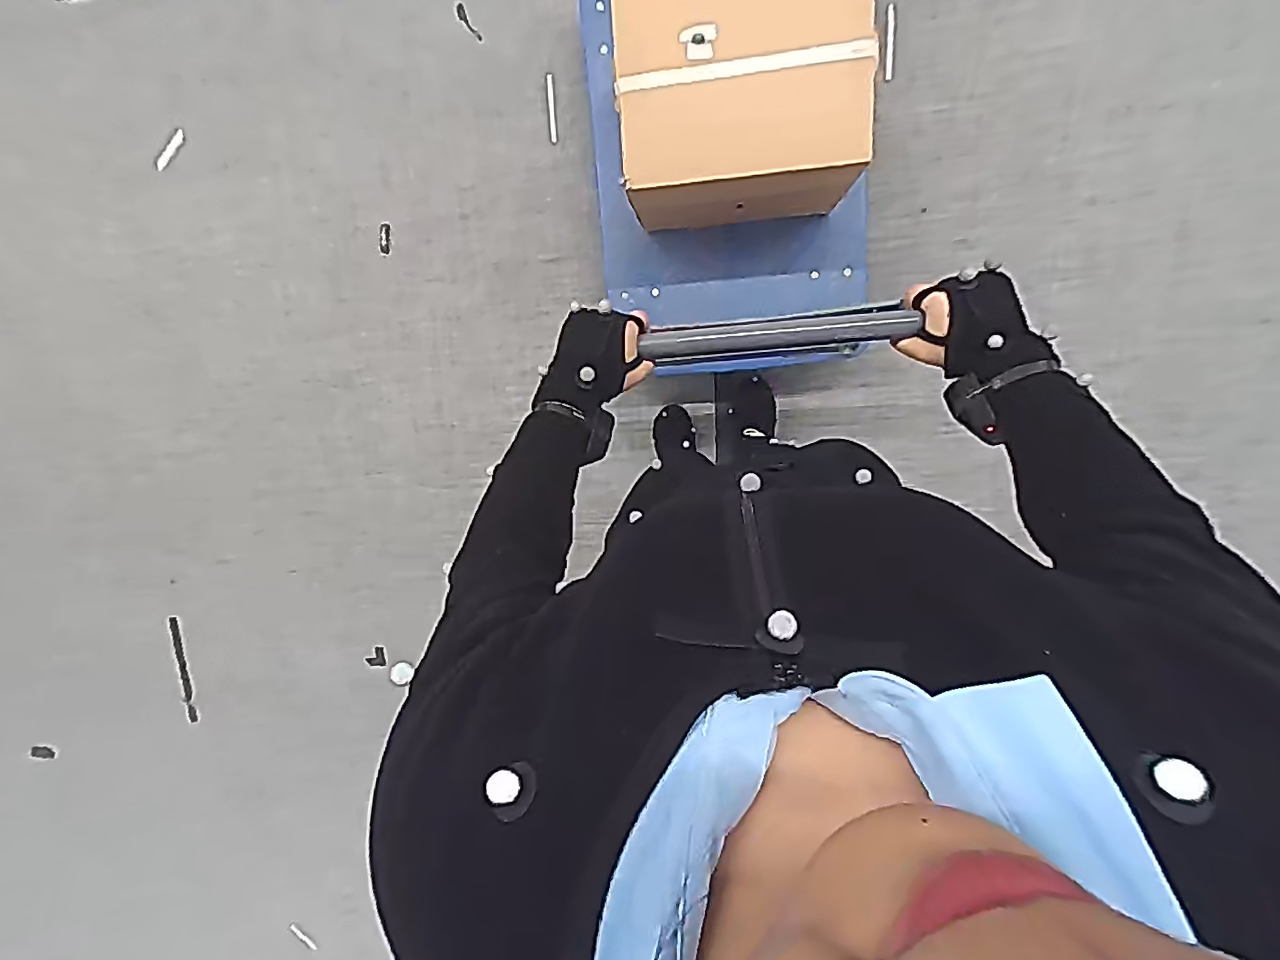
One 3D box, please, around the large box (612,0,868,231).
[{"bbox_3d":[0.184,-0.688,1.022,0.408,0.320,0.320,-2,101,9],"label":"large box"}]
